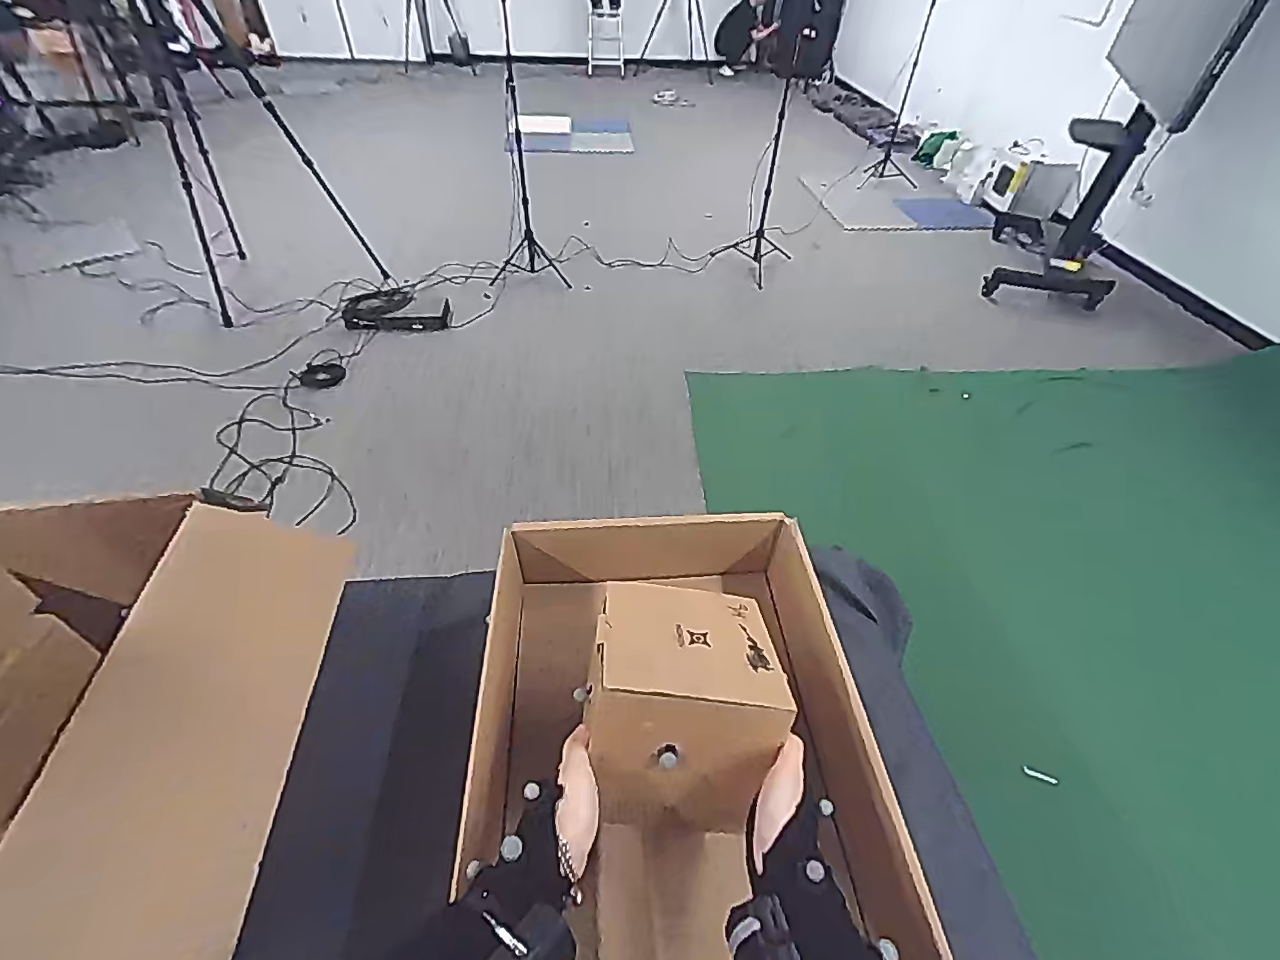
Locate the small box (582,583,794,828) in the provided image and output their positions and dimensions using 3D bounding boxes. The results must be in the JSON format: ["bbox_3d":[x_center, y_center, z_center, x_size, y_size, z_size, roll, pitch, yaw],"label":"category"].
[{"bbox_3d":[0.037,0.231,0.568,0.179,0.176,0.168,8,23,-5],"label":"small box"}]
